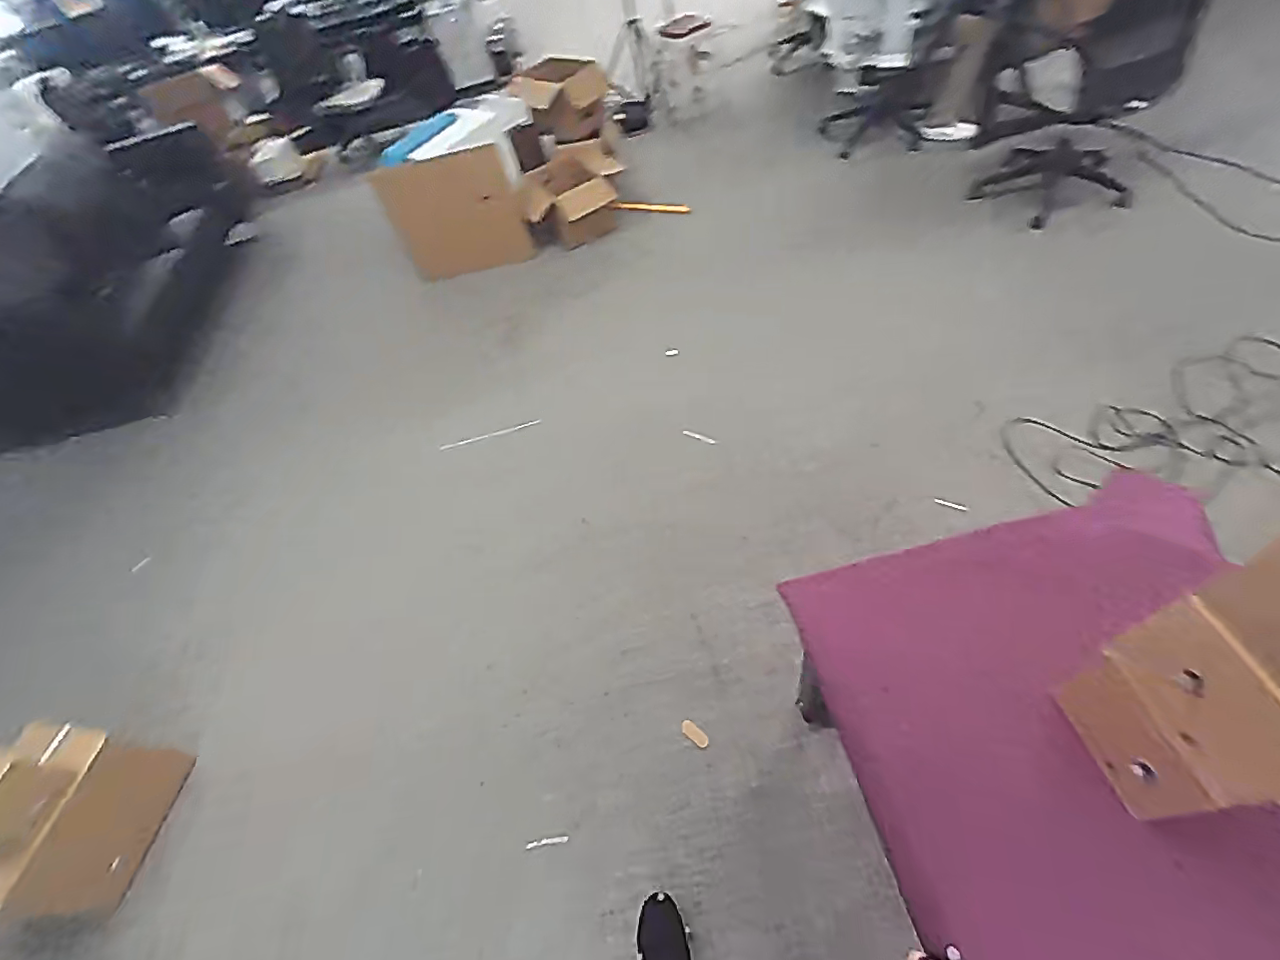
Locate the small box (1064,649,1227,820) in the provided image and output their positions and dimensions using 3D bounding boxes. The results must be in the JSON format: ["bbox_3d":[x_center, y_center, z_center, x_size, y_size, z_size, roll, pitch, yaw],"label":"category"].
[{"bbox_3d":[0.660,0.294,0.649,0.179,0.176,0.168,-14,53,3],"label":"small box"}]

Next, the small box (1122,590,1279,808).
[{"bbox_3d":[0.627,0.201,0.522,0.179,0.176,0.168,-15,53,2],"label":"small box"}]

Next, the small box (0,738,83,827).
[{"bbox_3d":[-1.596,0.758,1.360,0.179,0.176,0.168,4,55,14],"label":"small box"}]

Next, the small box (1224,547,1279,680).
[{"bbox_3d":[0.601,0.106,0.390,0.179,0.176,0.168,-15,54,2],"label":"small box"}]
